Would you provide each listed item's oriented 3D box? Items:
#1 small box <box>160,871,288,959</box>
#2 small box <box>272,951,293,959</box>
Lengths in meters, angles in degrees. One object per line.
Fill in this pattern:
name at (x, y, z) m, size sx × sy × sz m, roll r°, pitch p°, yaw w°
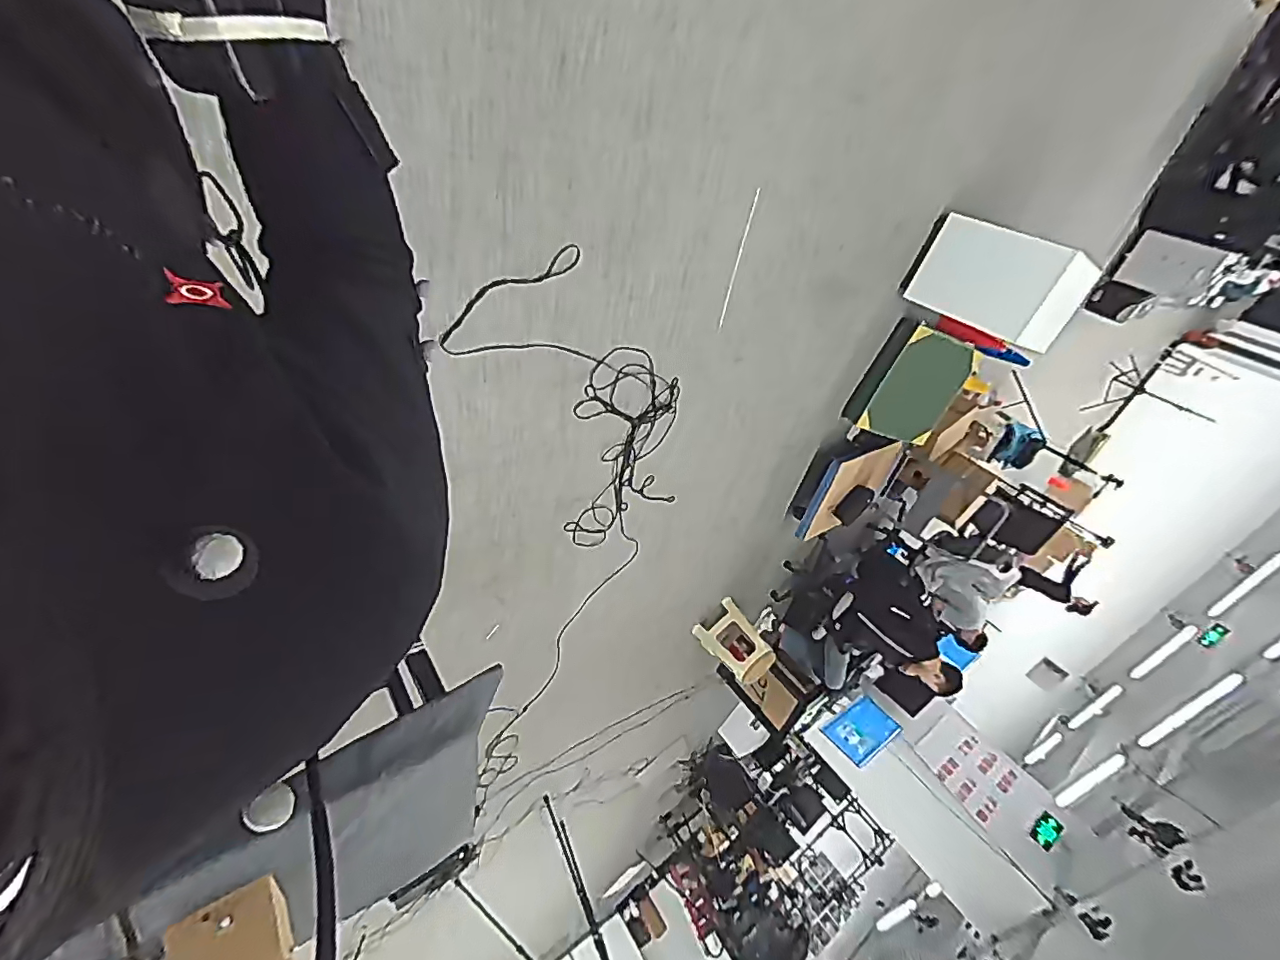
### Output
small box at (-0.787, 0.901, 1.035) m, size 0.168 × 0.176 × 0.179 m, roll -16°, pitch 135°, yaw -36°
small box at (-0.687, 0.992, 0.946) m, size 0.179 × 0.176 × 0.168 m, roll -18°, pitch 138°, yaw -35°
